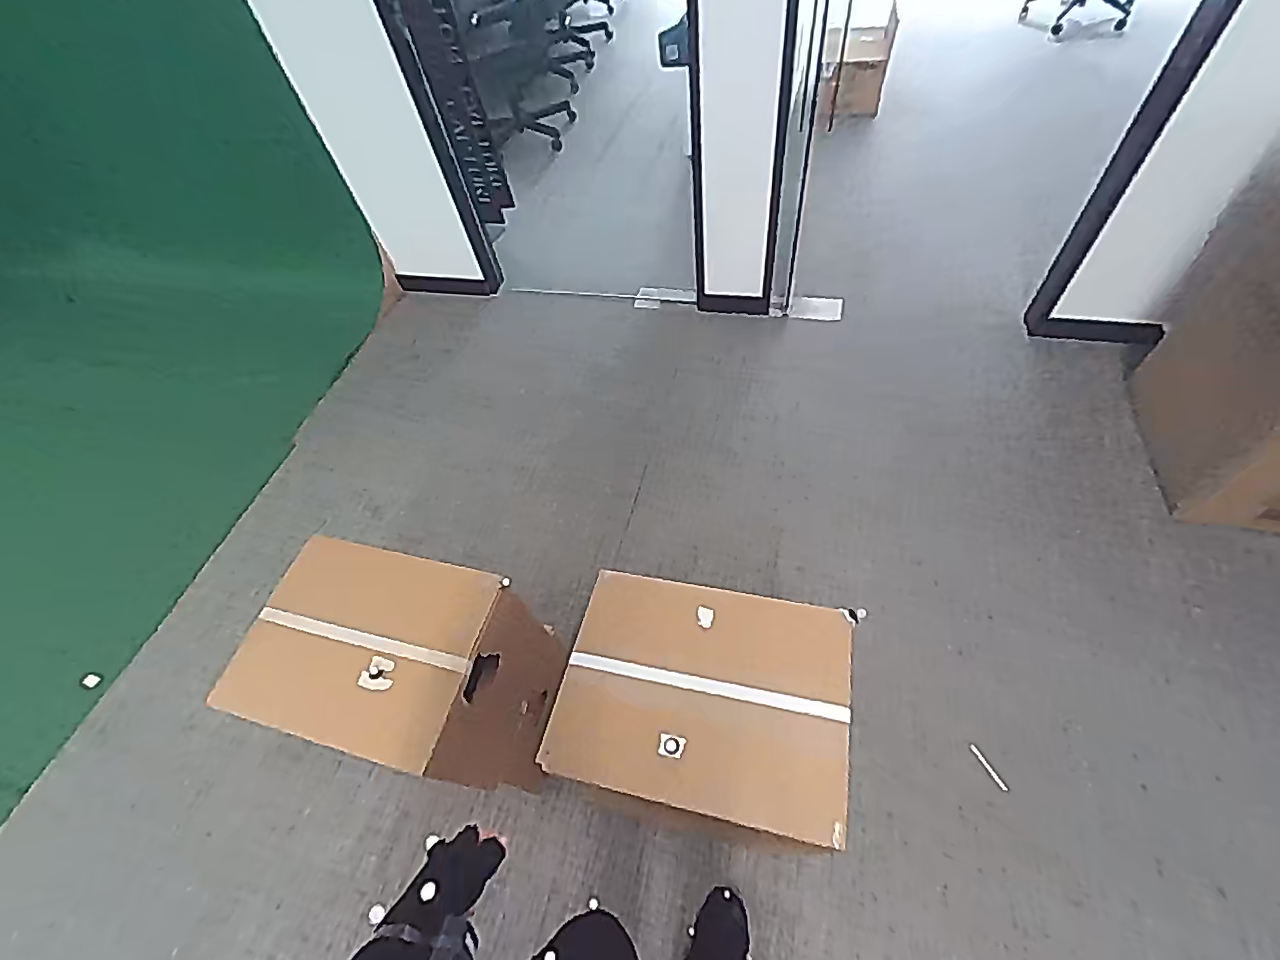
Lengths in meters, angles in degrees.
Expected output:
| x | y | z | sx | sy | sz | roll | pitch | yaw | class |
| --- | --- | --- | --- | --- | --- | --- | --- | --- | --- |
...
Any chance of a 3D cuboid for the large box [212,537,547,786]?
| x | y | z | sx | sy | sz | roll | pitch | yaw | class |
| --- | --- | --- | --- | --- | --- | --- | --- | --- | --- |
| -0.440 | 0.341 | 1.014 | 0.408 | 0.320 | 0.320 | 10 | 58 | 13 | large box |
